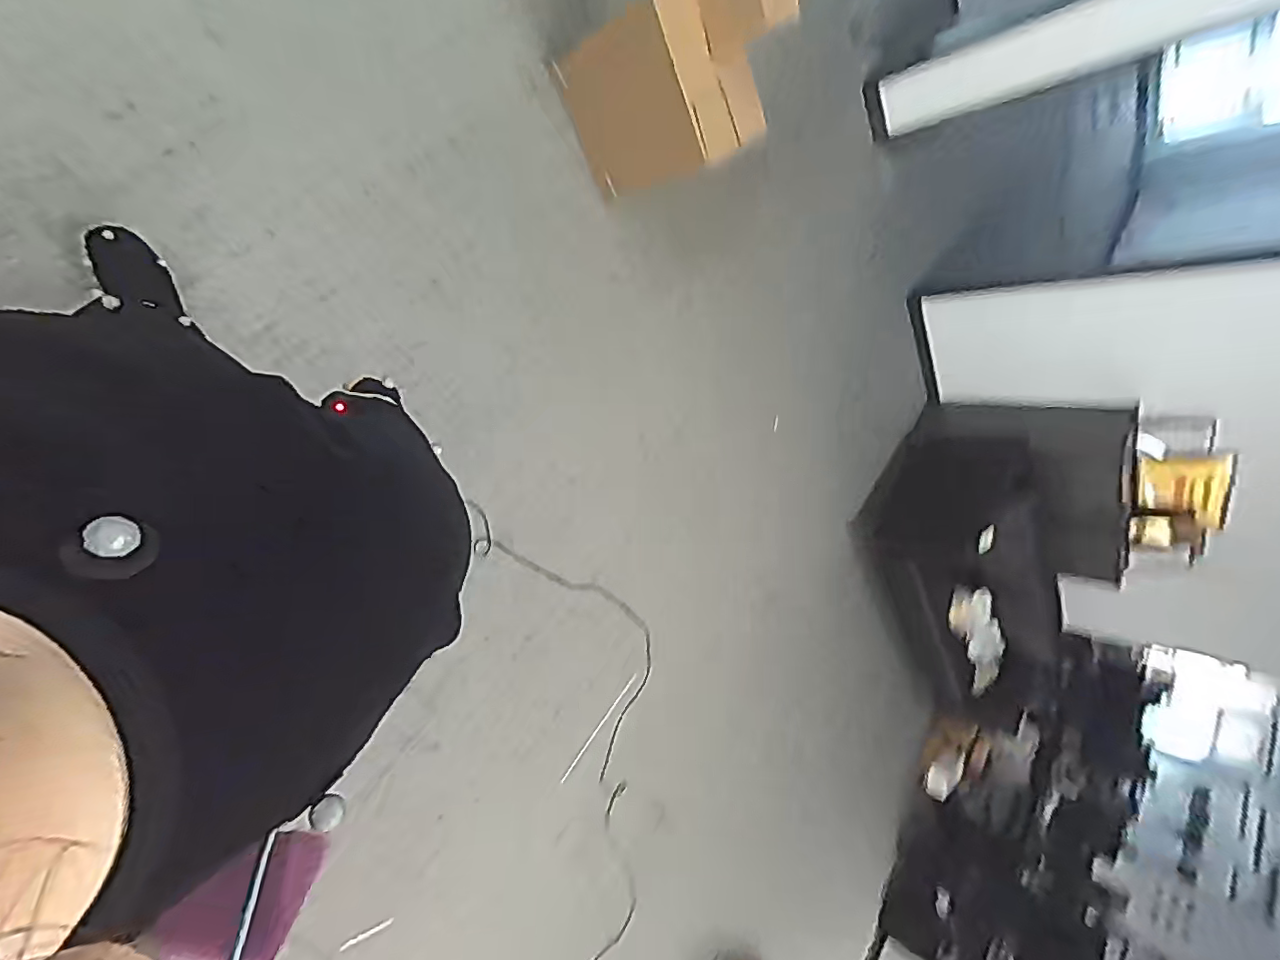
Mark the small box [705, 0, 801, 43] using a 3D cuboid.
[{"bbox_3d":[0.265,-1.223,1.324,0.168,0.176,0.179,-41,123,-29],"label":"small box"}]
